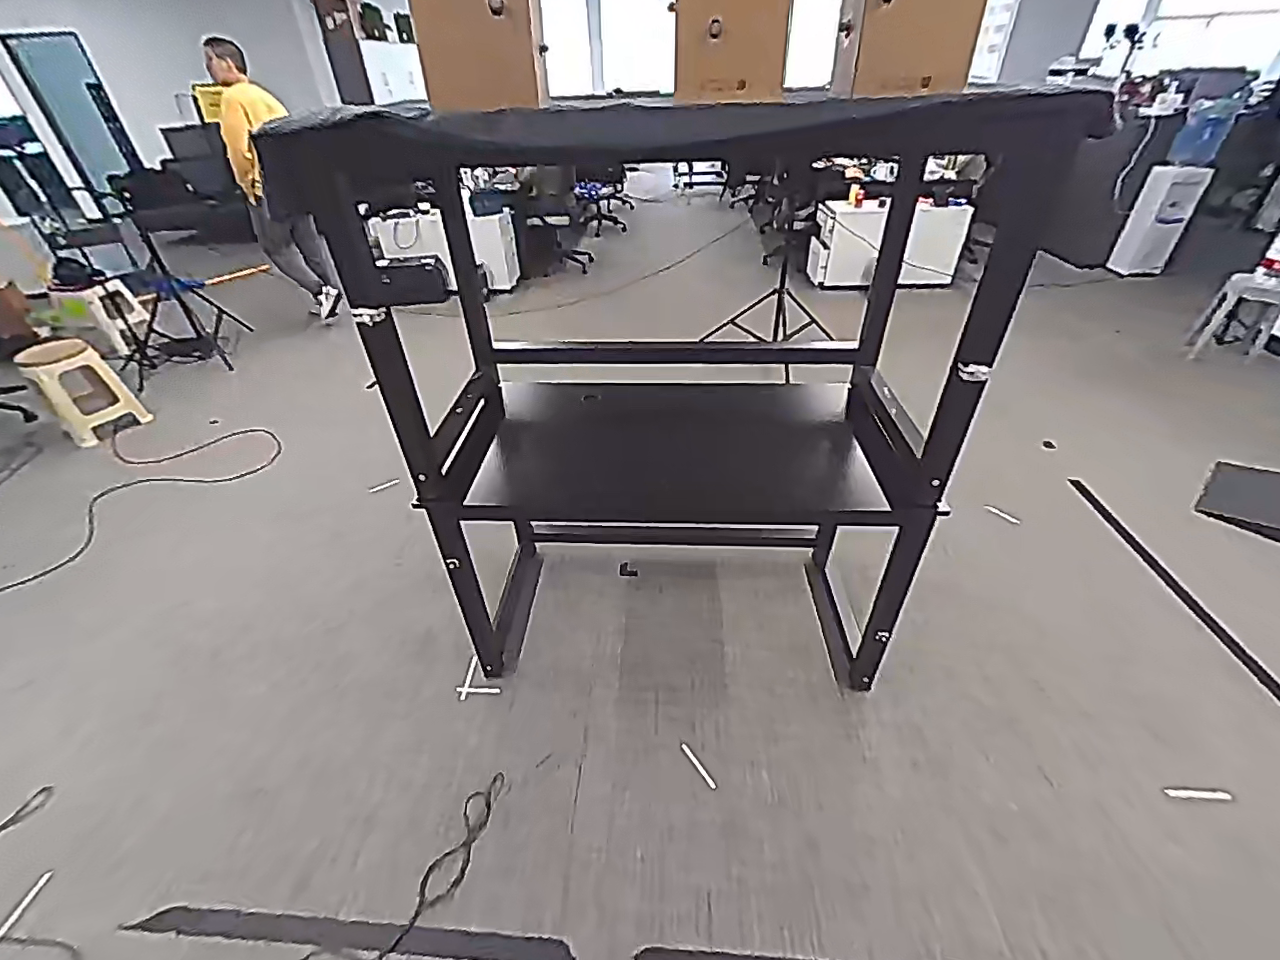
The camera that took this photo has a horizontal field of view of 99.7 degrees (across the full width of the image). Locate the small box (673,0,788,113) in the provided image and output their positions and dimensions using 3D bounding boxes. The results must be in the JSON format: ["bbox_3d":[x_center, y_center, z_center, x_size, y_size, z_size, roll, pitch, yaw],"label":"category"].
[{"bbox_3d":[0.141,-0.691,0.858,0.168,0.176,0.179,2,36,6],"label":"small box"}]

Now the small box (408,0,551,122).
[{"bbox_3d":[-0.243,-0.681,0.863,0.179,0.176,0.168,-2,35,0],"label":"small box"}]
